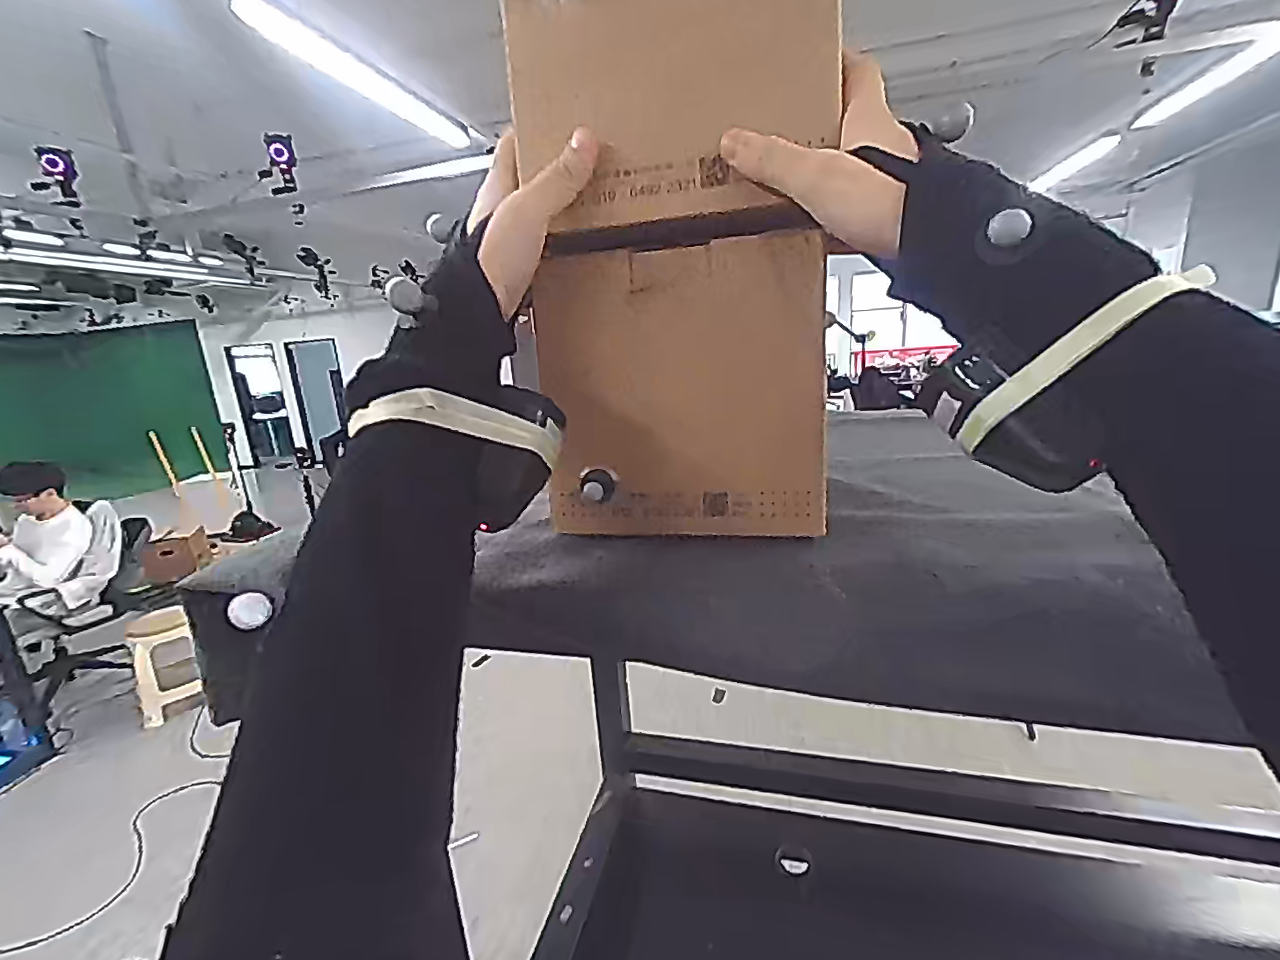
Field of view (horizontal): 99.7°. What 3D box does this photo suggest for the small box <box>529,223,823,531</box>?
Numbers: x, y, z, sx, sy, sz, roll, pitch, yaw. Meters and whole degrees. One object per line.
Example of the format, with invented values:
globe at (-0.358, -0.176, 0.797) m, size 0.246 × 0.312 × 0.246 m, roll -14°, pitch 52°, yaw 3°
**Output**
small box at (0.038, -0.064, 0.389) m, size 0.168 × 0.176 × 0.179 m, roll -1°, pitch 11°, yaw 13°
